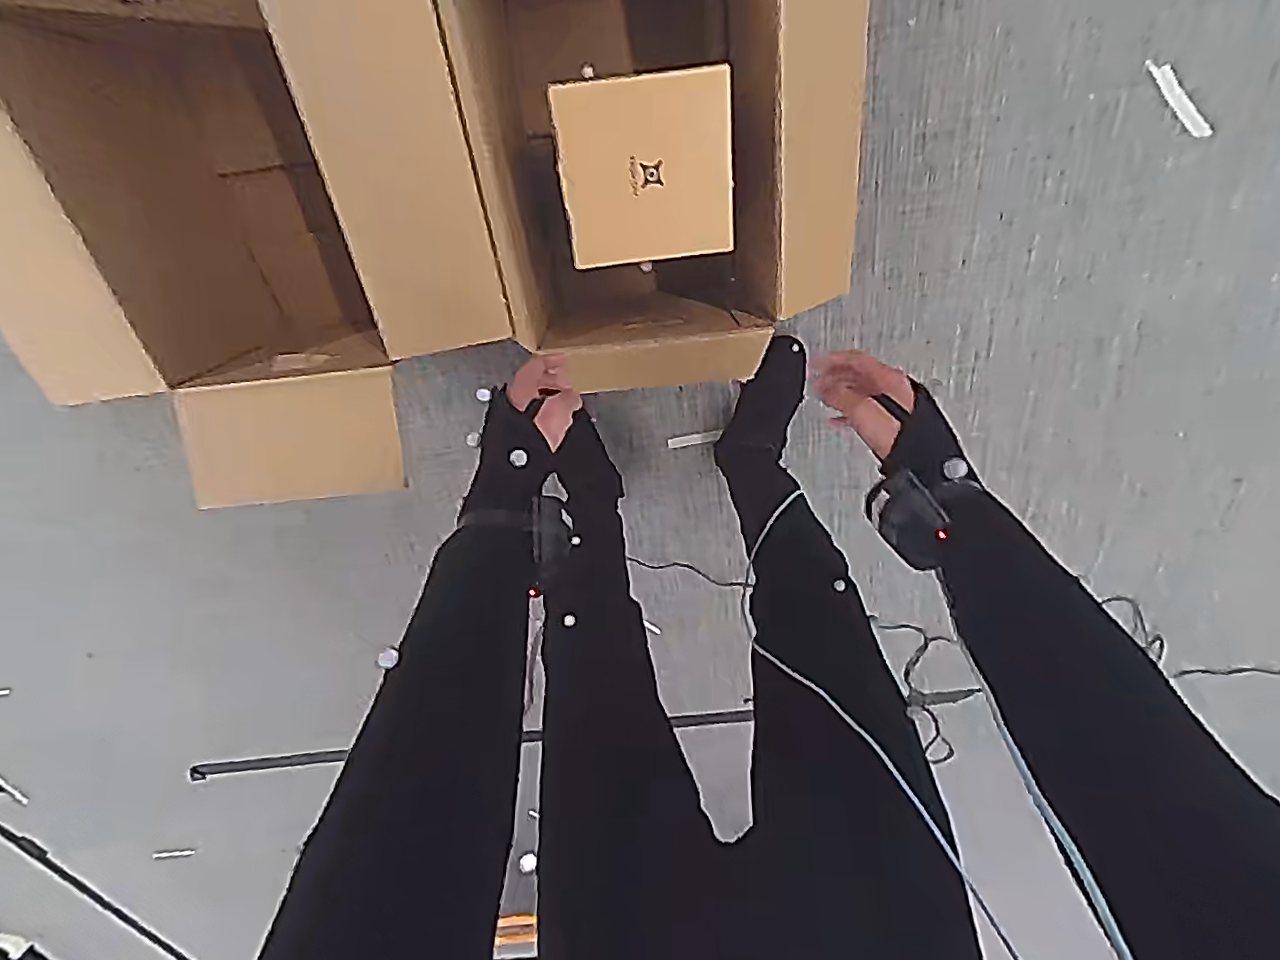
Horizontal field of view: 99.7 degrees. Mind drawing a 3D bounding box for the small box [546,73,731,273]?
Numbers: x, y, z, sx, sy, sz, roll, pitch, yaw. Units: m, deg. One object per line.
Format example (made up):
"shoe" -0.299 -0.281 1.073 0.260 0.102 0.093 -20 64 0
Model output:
"small box" 0.001 -0.347 0.615 0.179 0.176 0.168 -6 122 2
